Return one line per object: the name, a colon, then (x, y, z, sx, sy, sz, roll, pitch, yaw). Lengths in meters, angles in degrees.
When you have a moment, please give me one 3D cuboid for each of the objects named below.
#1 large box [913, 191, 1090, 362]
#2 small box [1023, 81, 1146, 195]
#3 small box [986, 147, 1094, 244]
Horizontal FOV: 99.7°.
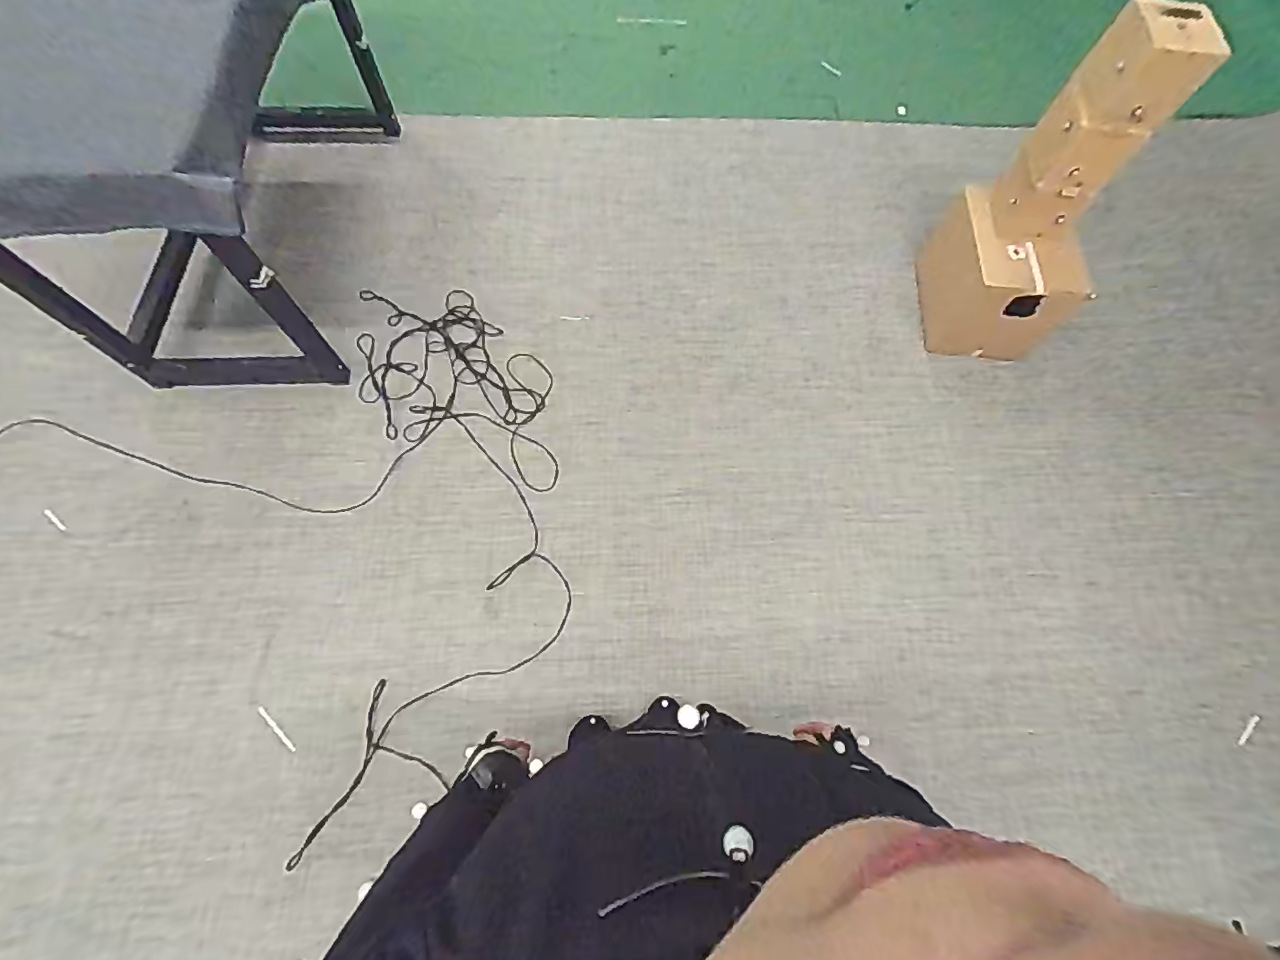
large box: (1.115, -0.638, 1.721, 0.320, 0.320, 0.408, 4, 68, 1)
small box: (1.117, -0.866, 1.378, 0.168, 0.176, 0.179, 7, 68, -1)
small box: (1.116, -0.796, 1.525, 0.168, 0.176, 0.179, 6, 66, -1)
